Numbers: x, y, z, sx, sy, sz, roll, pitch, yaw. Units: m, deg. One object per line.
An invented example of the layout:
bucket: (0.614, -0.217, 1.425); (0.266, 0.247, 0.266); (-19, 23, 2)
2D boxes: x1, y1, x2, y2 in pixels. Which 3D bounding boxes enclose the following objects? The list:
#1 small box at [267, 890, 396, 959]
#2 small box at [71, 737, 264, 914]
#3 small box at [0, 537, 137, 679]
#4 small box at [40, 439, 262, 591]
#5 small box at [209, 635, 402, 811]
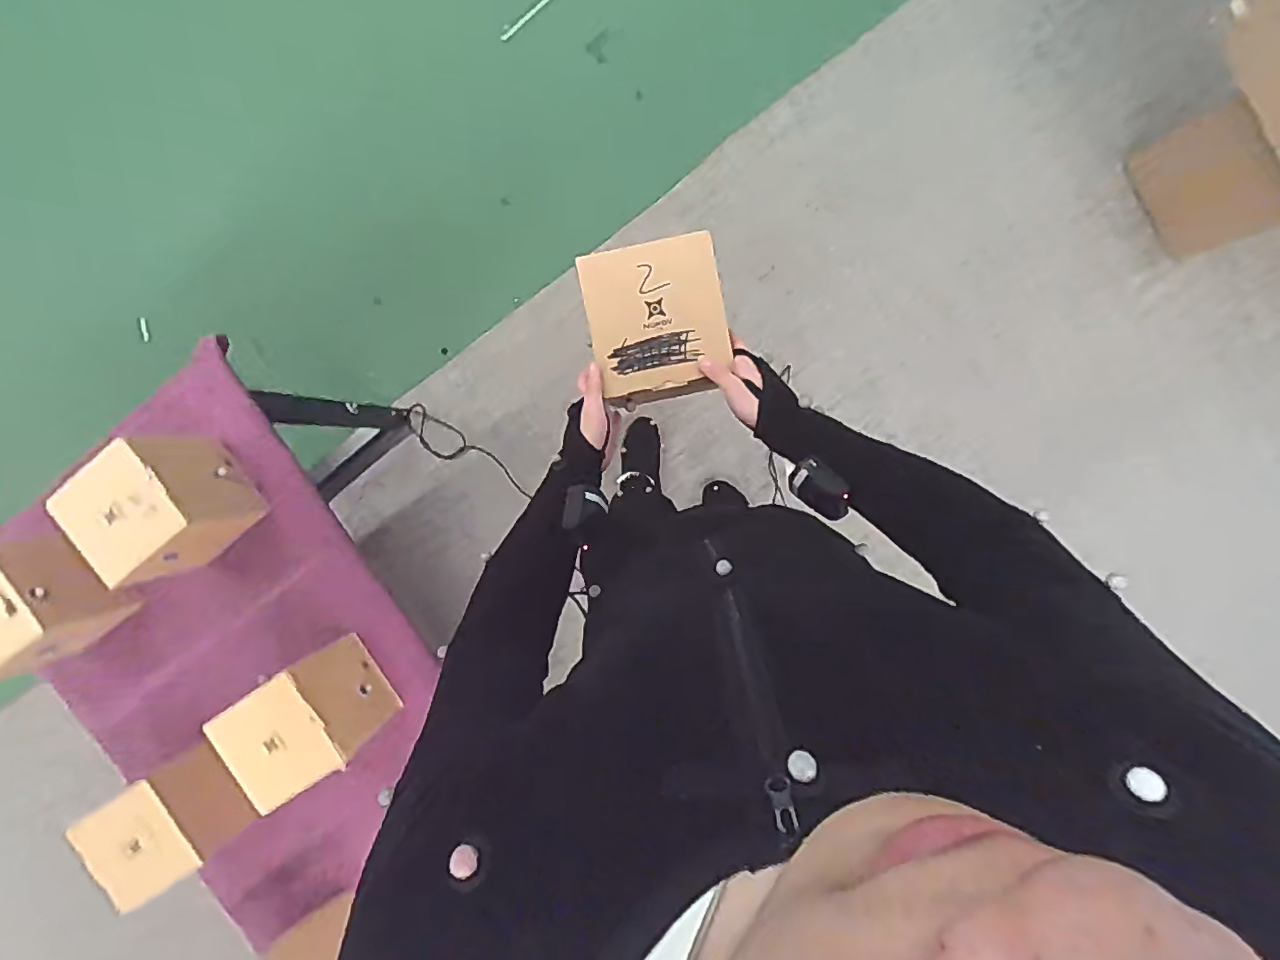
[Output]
small box: (-0.558, 0.876, 0.941); (0.179, 0.176, 0.168); (-35, 91, 5)
small box: (-0.788, 0.577, 0.935); (0.179, 0.176, 0.168); (-33, 93, 5)
small box: (-1.033, 0.216, 0.918); (0.179, 0.176, 0.168); (-35, 93, 6)
small box: (-0.781, 0.047, 0.884); (0.179, 0.176, 0.168); (-37, 93, 6)
small box: (-0.543, 0.393, 0.903); (0.179, 0.176, 0.168); (-35, 92, 6)
